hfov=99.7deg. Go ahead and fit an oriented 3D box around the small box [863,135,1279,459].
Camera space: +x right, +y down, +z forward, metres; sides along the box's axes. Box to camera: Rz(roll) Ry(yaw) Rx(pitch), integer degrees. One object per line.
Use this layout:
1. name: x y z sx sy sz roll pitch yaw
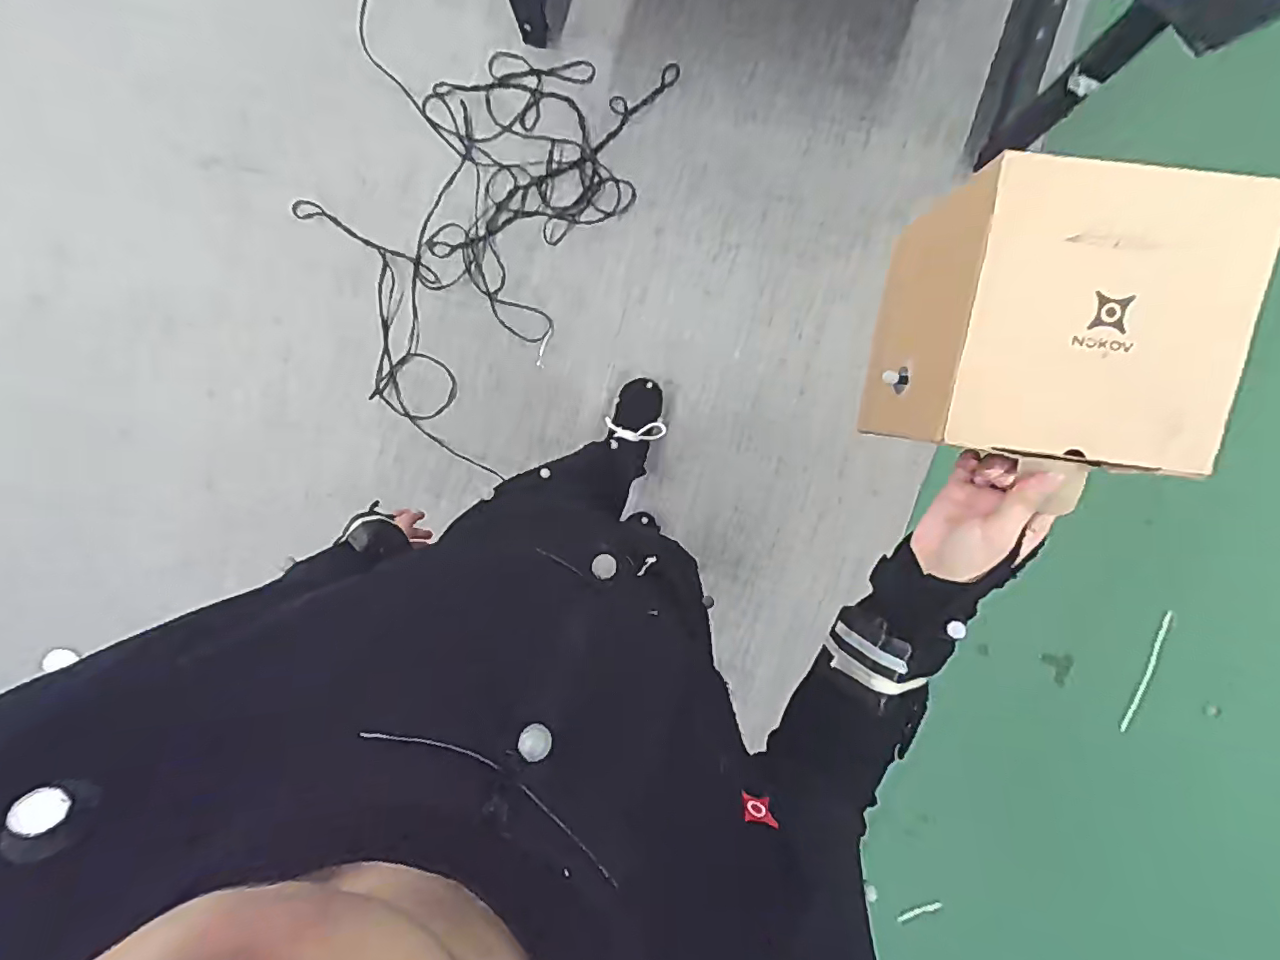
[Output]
1. small box: 0.284 -0.118 0.405 0.168 0.176 0.179 7 97 2
